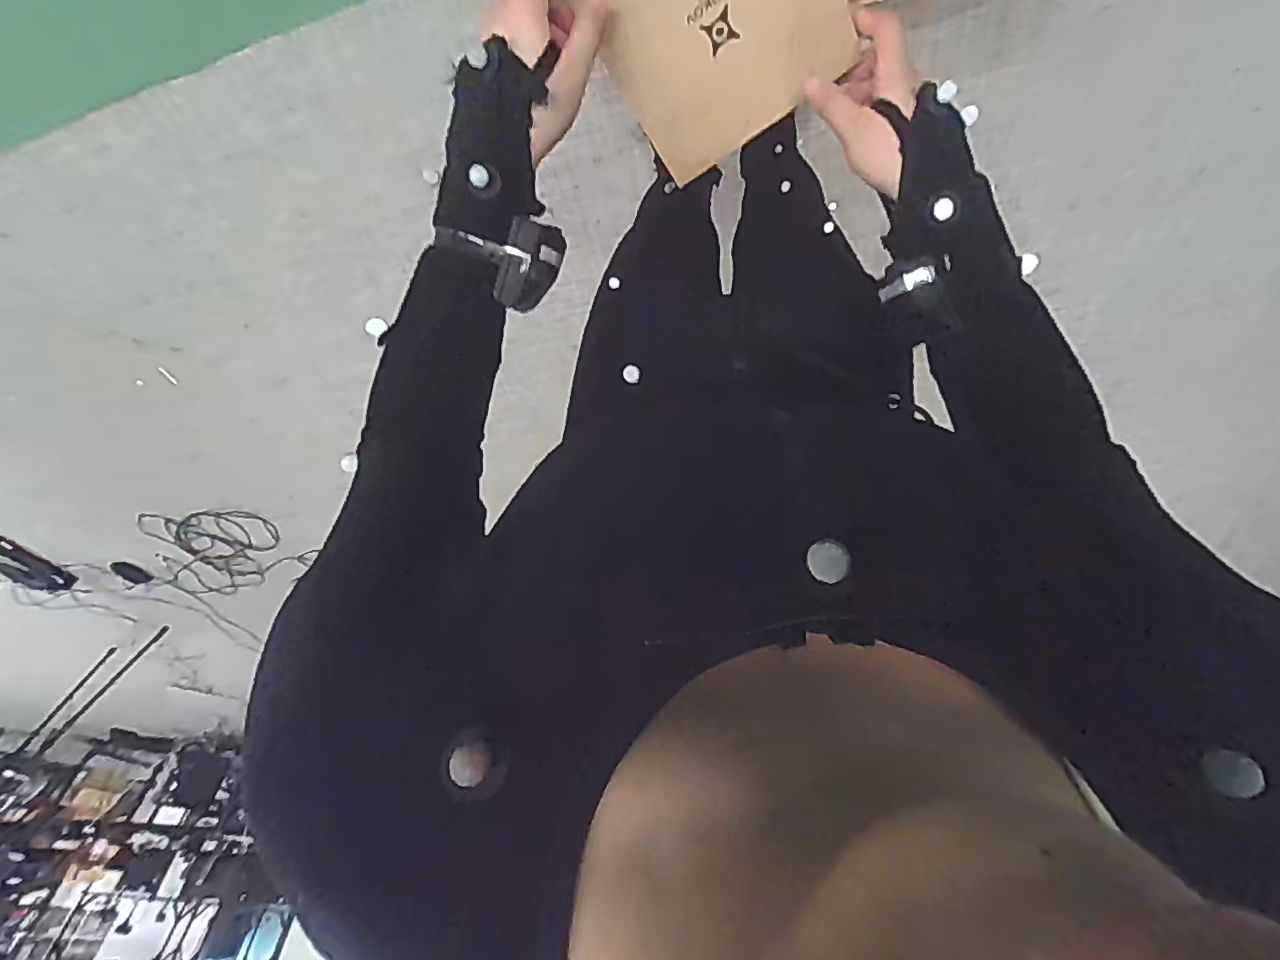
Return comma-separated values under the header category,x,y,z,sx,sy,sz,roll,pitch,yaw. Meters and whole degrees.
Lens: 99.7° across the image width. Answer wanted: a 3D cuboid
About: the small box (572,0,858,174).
category,x,y,z,sx,sy,sz,roll,pitch,yaw
small box,0.048,-0.399,0.428,0.168,0.176,0.179,-25,138,24
